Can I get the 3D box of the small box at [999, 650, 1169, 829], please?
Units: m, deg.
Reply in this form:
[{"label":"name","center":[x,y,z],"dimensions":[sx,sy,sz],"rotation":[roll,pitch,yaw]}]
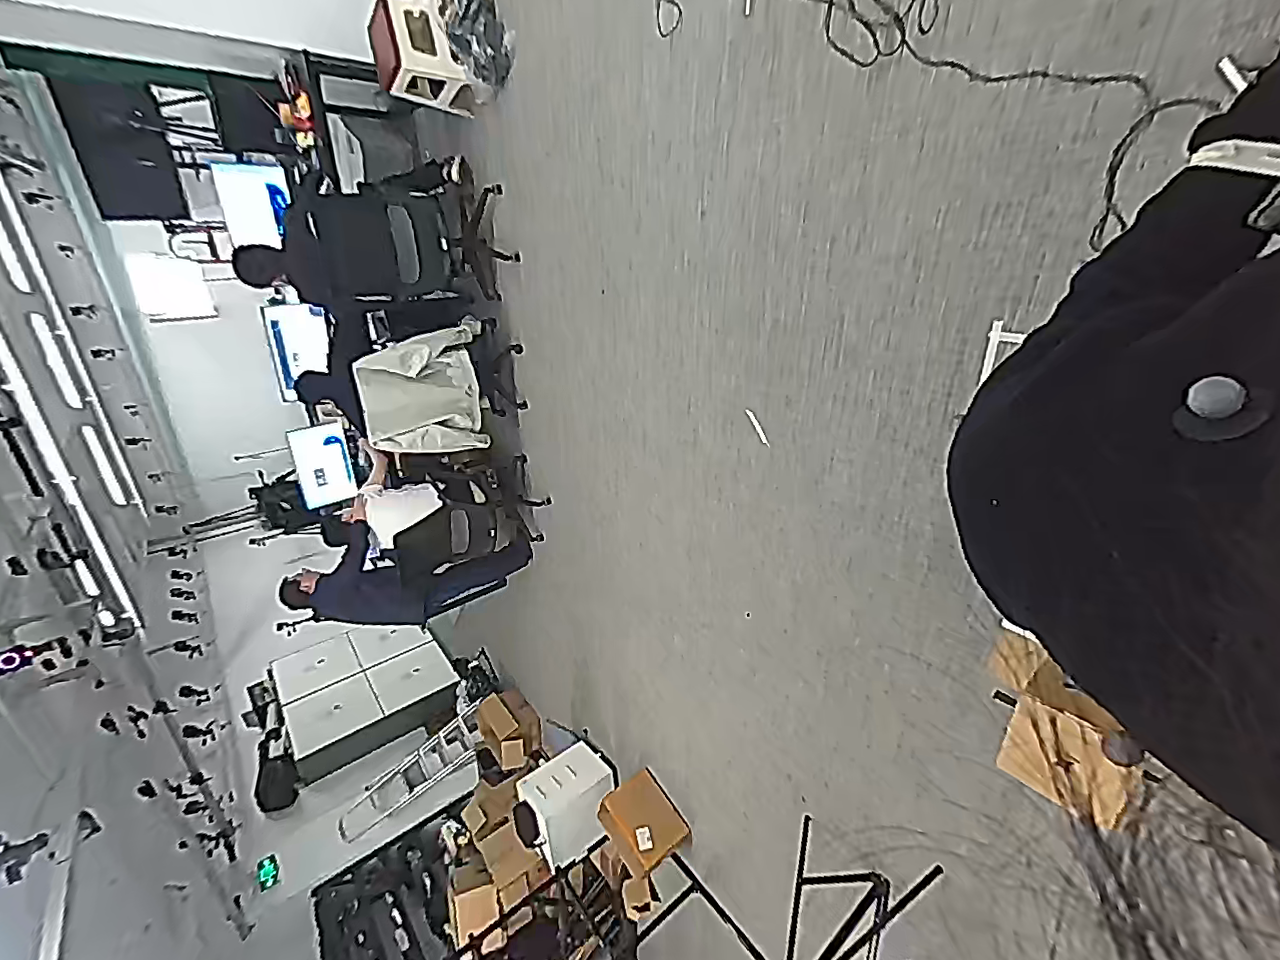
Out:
[{"label":"small box","center":[0.747,0.423,0.911],"dimensions":[0.168,0.176,0.179],"rotation":[26,126,46]}]
